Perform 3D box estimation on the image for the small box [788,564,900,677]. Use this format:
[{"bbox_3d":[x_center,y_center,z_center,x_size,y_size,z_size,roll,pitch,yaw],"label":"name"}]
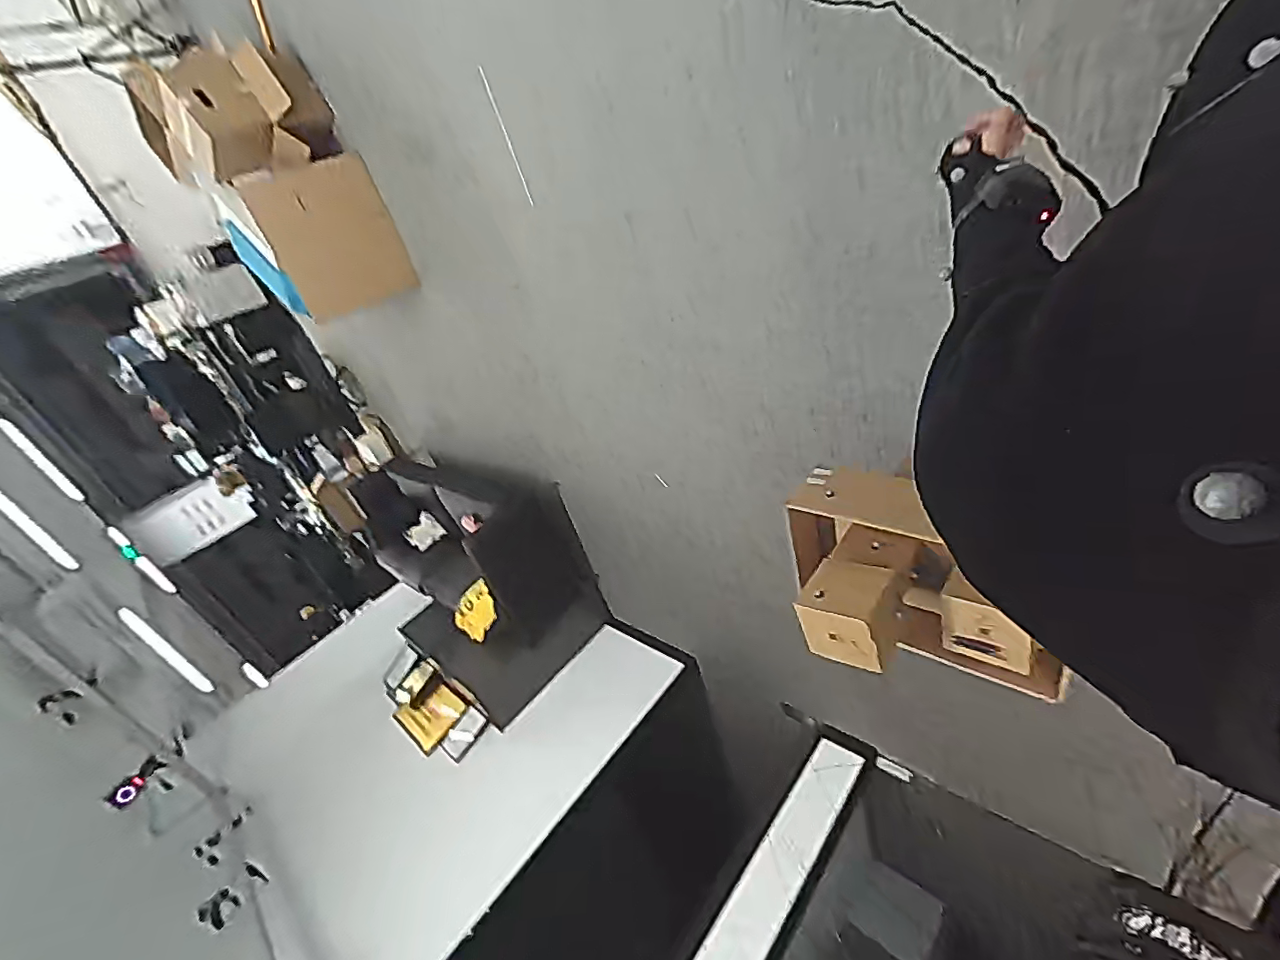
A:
[{"bbox_3d":[0.477,0.316,1.259,0.179,0.176,0.168,4,127,46],"label":"small box"}]
